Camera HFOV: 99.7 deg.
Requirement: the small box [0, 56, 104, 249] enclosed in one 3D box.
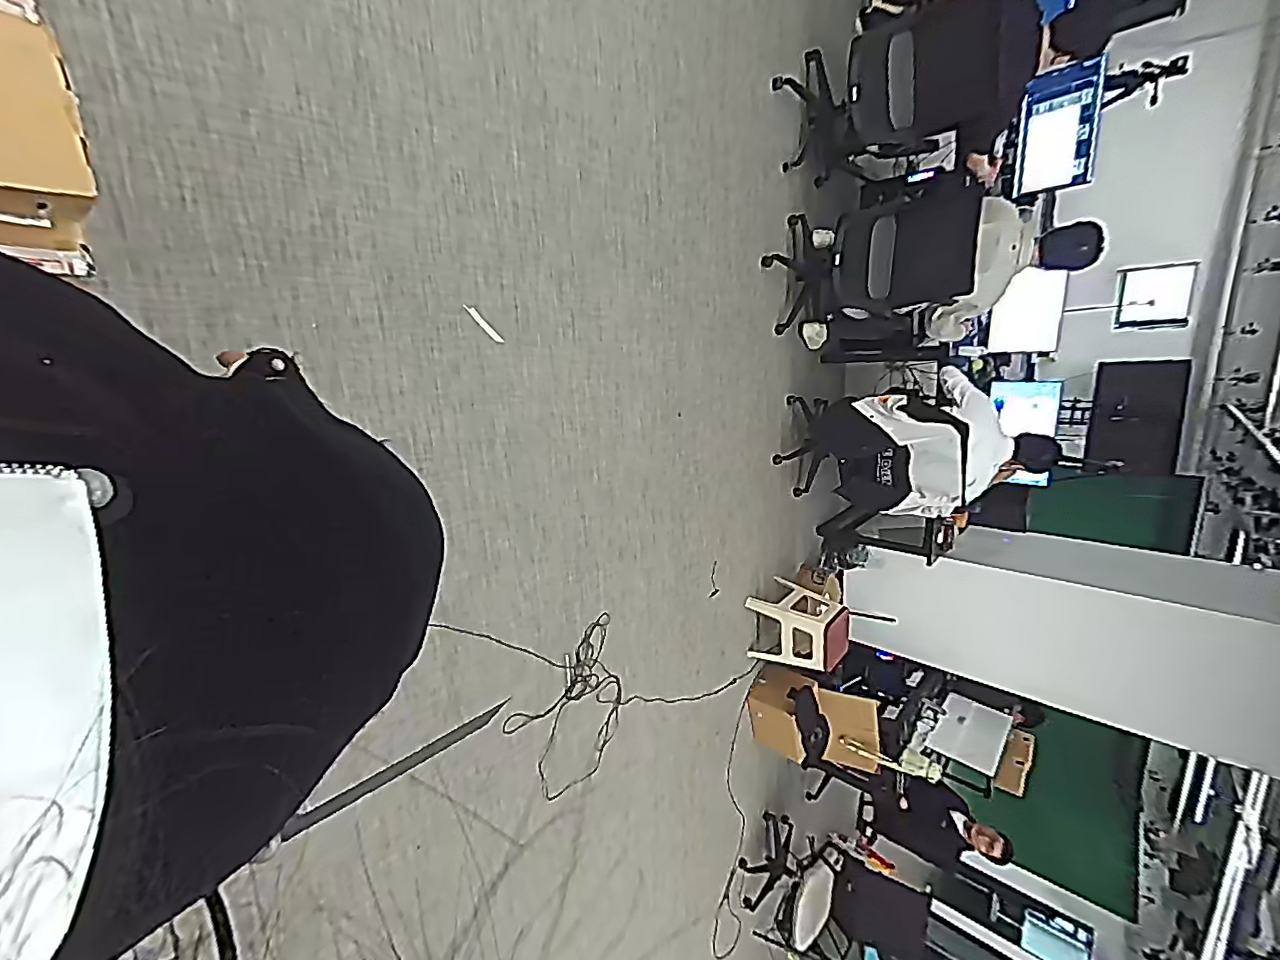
[{"bbox_3d":[-0.736,-0.354,0.588,0.179,0.176,0.168,-20,113,-46],"label":"small box"}]
